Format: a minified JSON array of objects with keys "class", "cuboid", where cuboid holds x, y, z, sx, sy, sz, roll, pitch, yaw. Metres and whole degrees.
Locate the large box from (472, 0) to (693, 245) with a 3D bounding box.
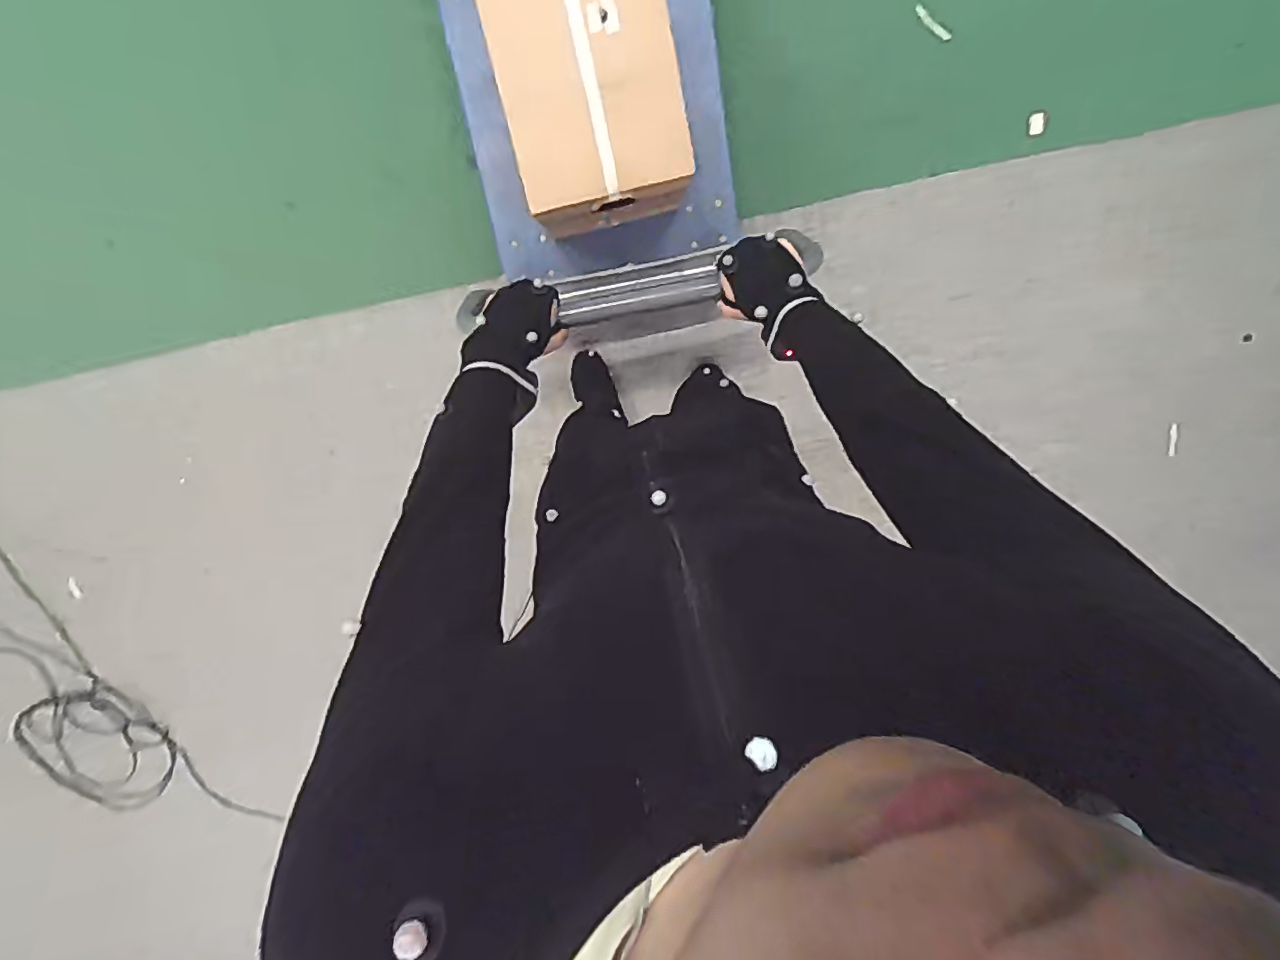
[{"class":"large box","cuboid":[-0.096,-0.740,1.093,0.320,0.320,0.408,-13,106,3]}]
